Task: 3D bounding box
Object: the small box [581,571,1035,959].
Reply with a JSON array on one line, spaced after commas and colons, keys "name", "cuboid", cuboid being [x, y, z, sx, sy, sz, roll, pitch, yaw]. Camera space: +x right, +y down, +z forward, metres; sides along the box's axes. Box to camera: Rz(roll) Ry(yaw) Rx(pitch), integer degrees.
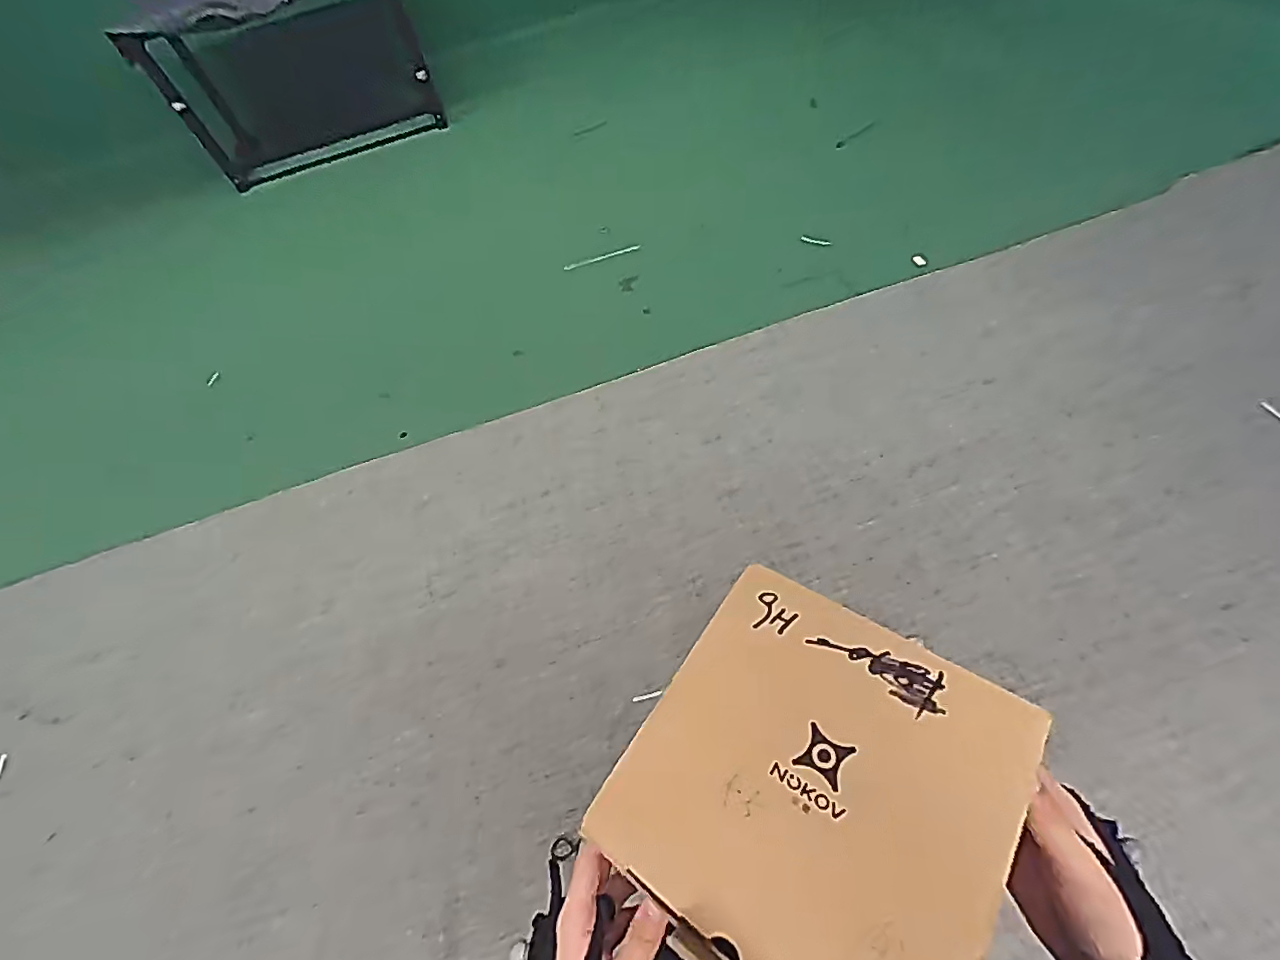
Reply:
[{"name": "small box", "cuboid": [0.096, 0.196, 0.332, 0.168, 0.176, 0.179, 26, 62, 28]}]
